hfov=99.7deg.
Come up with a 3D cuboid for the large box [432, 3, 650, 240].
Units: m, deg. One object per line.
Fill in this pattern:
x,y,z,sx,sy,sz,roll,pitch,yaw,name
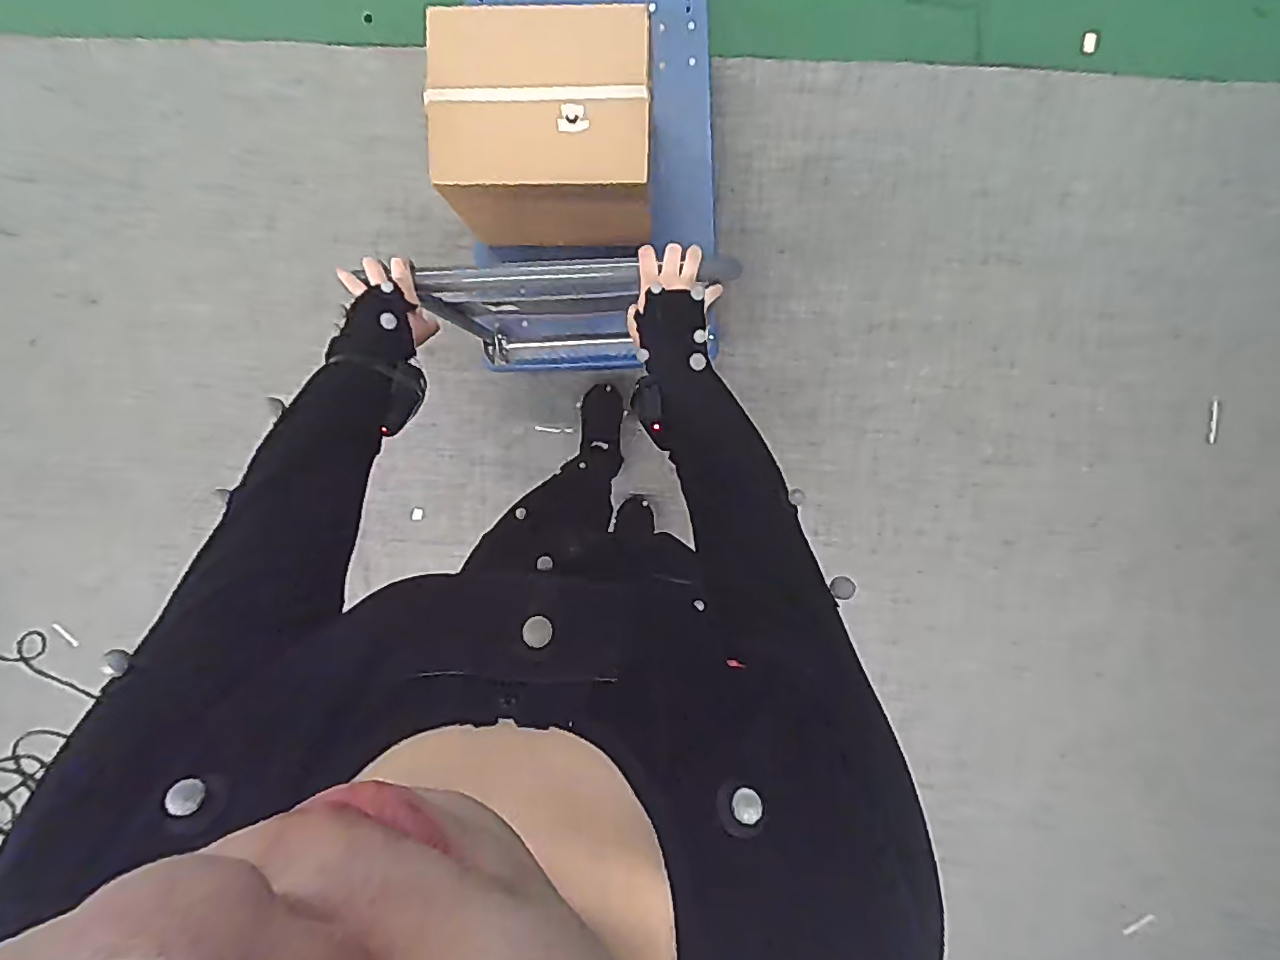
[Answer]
-0.183,-0.722,1.141,0.408,0.320,0.320,0,94,1,large box
